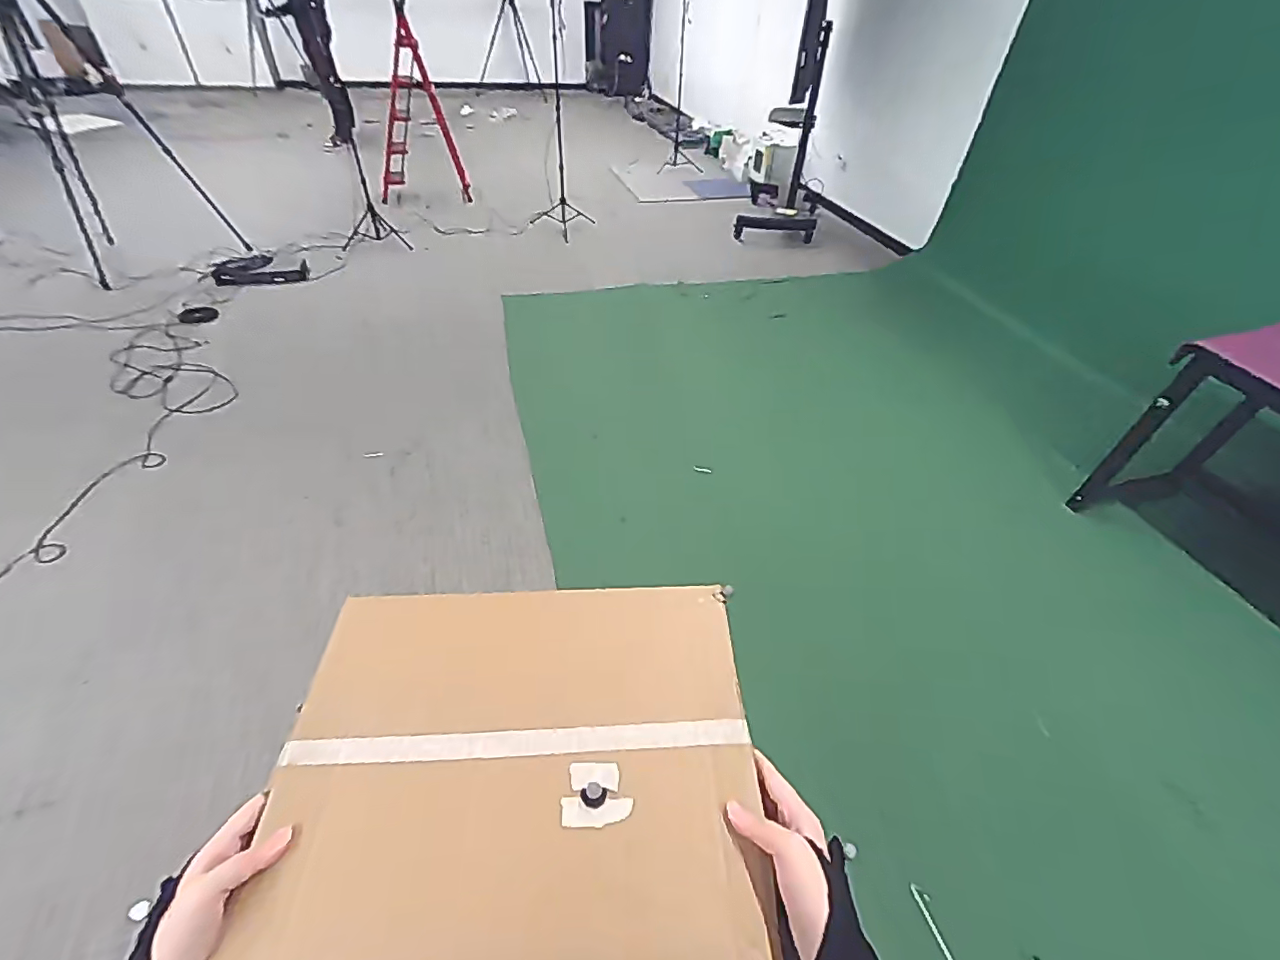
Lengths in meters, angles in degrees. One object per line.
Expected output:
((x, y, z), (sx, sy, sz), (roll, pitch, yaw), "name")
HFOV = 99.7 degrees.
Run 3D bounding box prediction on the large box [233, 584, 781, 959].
((-0.106, 0.335, 0.598), (0.408, 0.320, 0.320), (-1, 47, -4), "large box")
